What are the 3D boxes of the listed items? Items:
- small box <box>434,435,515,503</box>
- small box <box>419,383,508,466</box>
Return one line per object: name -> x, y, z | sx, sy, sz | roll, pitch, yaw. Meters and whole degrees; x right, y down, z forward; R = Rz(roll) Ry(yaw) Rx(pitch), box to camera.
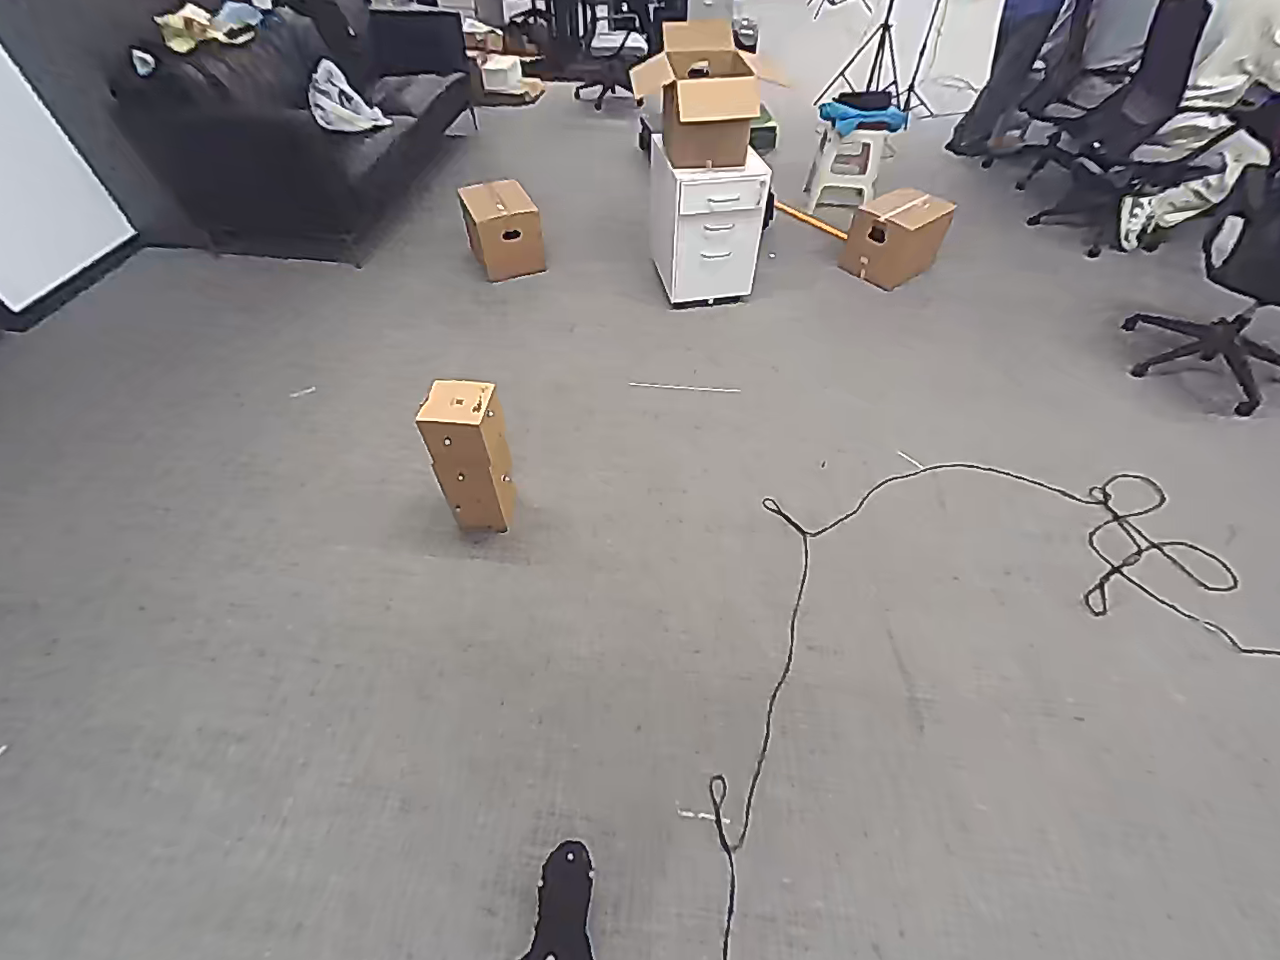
small box -> -0.497, -0.044, 1.649 | 0.179, 0.176, 0.168 | 5, 51, 3
small box -> -0.490, -0.155, 1.528 | 0.179, 0.176, 0.168 | 4, 50, 4
